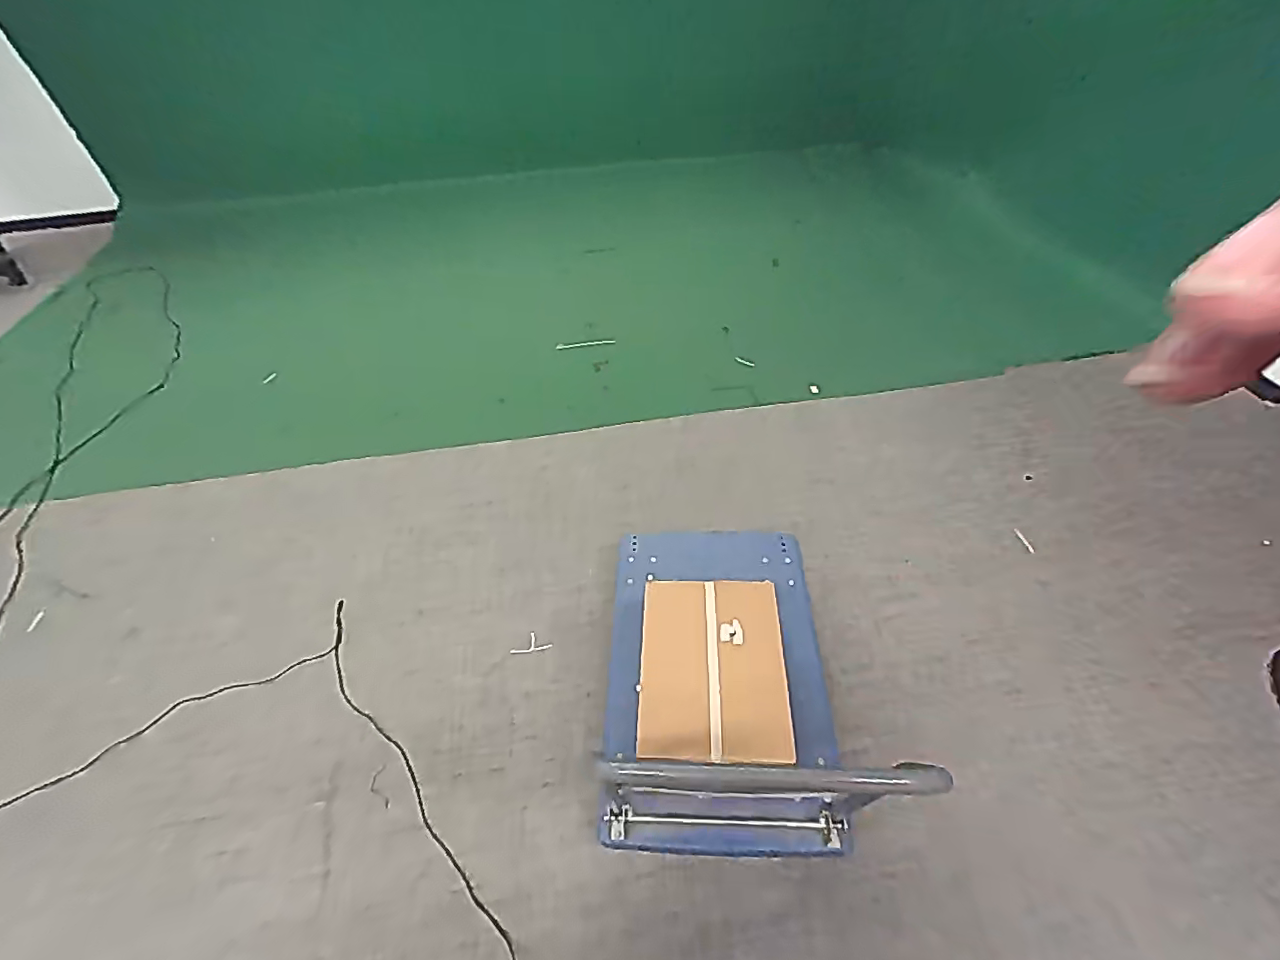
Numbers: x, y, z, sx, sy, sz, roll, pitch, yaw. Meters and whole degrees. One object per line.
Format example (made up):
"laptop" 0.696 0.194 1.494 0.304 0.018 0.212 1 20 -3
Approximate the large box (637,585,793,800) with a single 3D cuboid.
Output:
"large box" 0.164 0.510 1.304 0.320 0.320 0.408 0 46 4
